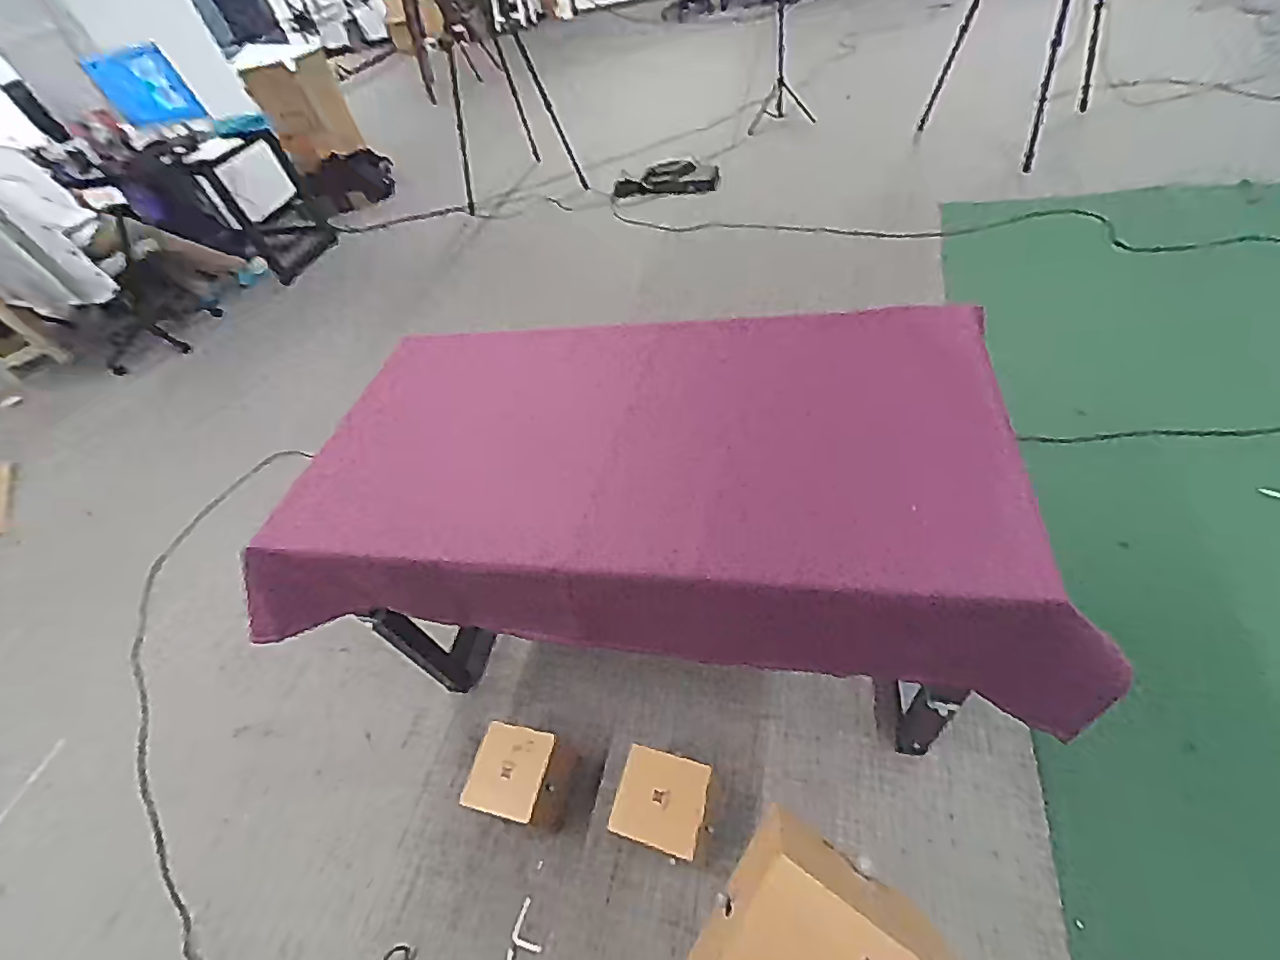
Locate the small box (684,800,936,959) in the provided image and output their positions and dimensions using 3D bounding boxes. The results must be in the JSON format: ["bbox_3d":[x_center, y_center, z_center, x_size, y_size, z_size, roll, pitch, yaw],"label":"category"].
[{"bbox_3d":[0.142,0.426,0.475,0.168,0.176,0.179,30,80,20],"label":"small box"}]
